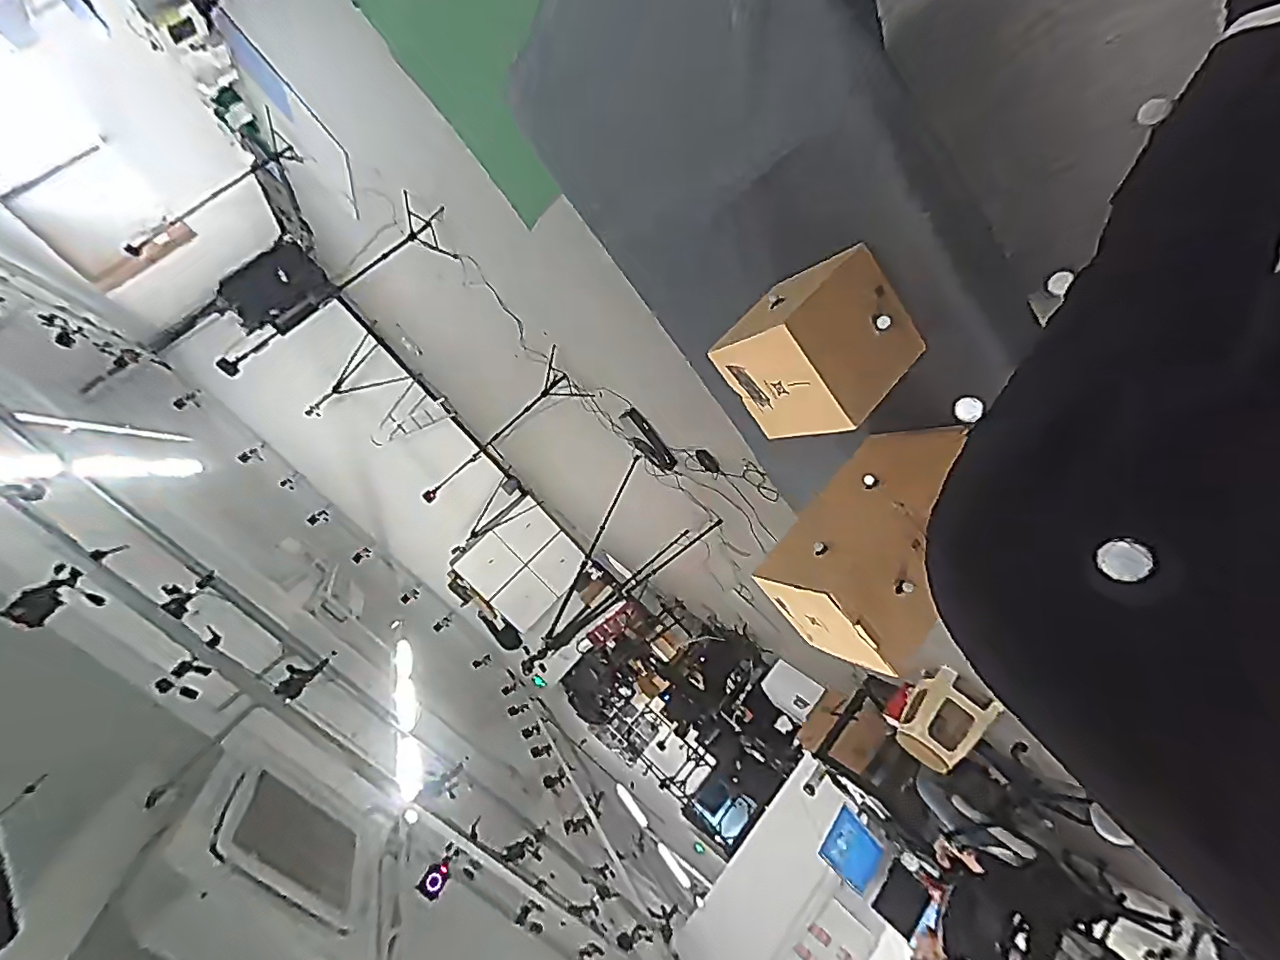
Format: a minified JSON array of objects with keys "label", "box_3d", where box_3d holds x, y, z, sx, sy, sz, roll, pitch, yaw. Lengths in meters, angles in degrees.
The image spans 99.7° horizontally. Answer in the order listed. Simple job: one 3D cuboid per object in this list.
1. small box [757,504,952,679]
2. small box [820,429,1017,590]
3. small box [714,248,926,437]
[{"label":"small box","box_3d":[0.312,0.147,0.780,0.168,0.176,0.179,49,162,-13]},{"label":"small box","box_3d":[0.425,0.040,0.831,0.168,0.176,0.179,50,162,-14]},{"label":"small box","box_3d":[0.242,-0.177,0.737,0.168,0.176,0.179,49,163,-16]}]
